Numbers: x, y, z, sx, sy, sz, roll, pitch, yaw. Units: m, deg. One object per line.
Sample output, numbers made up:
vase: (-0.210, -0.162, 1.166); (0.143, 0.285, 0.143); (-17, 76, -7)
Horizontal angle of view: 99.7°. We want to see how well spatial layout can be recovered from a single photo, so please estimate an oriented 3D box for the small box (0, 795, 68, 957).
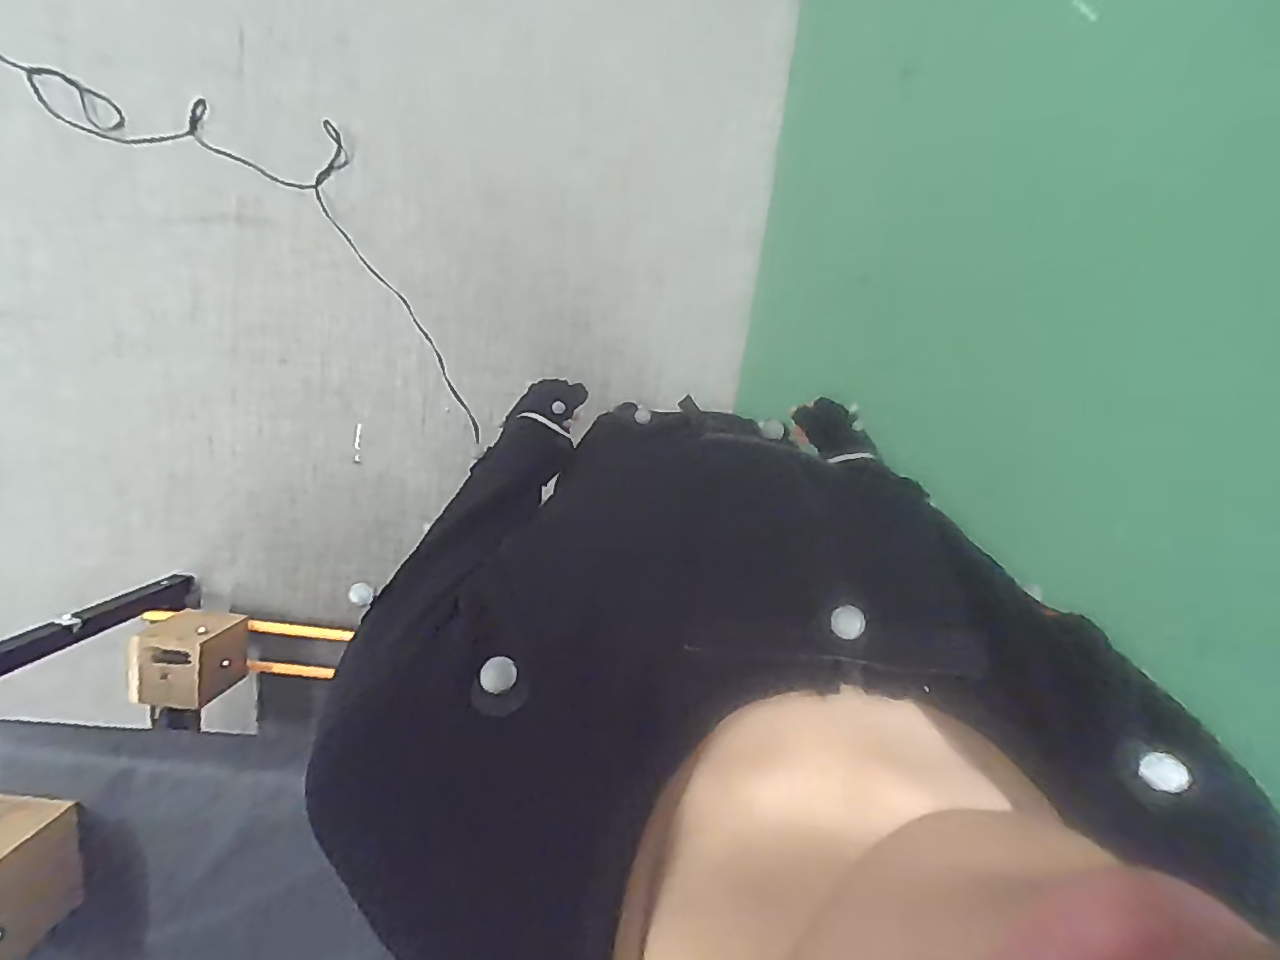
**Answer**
small box: (-0.937, 0.562, 0.729); (0.168, 0.176, 0.179); (6, 100, -3)
